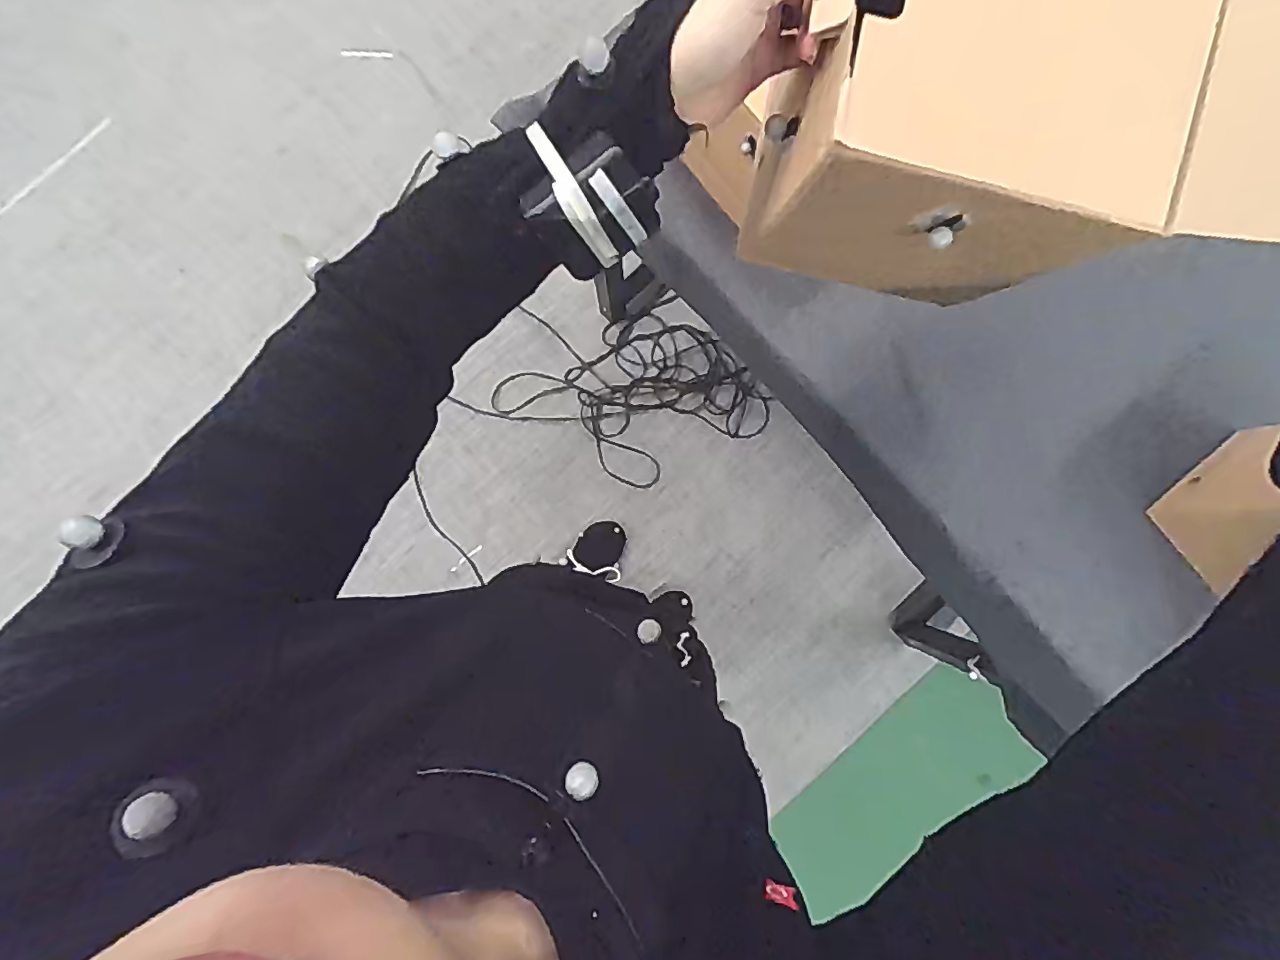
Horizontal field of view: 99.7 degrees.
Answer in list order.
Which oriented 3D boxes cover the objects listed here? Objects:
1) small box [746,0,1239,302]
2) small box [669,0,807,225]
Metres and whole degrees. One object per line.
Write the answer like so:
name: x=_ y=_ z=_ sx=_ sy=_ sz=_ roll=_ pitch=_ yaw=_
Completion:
small box: x=0.177 y=-0.218 z=0.319 sx=0.179 sy=0.176 sz=0.168 roll=11 pitch=95 yaw=-6
small box: x=0.148 y=-0.430 z=0.612 sx=0.168 sy=0.176 sz=0.179 roll=-39 pitch=88 yaw=-3
